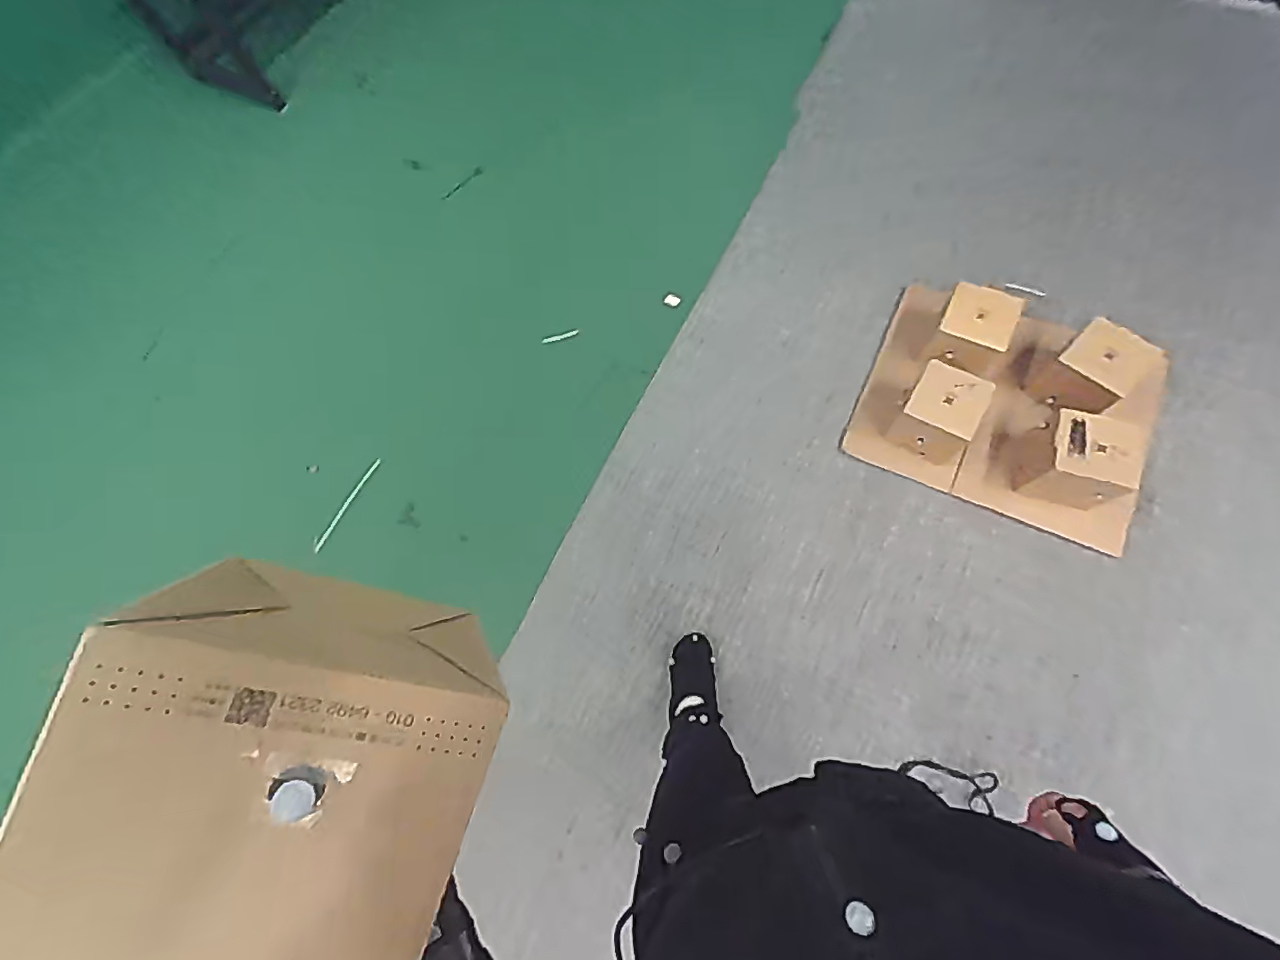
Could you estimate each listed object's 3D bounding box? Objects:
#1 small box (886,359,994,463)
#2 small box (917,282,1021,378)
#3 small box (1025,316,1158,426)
[{"bbox_3d":[0.761,-0.170,1.394,0.168,0.176,0.179,29,75,15],"label":"small box"},{"bbox_3d":[0.882,-0.395,1.467,0.168,0.176,0.179,25,74,15],"label":"small box"},{"bbox_3d":[1.142,-0.274,1.386,0.179,0.176,0.168,-44,70,-11],"label":"small box"}]
